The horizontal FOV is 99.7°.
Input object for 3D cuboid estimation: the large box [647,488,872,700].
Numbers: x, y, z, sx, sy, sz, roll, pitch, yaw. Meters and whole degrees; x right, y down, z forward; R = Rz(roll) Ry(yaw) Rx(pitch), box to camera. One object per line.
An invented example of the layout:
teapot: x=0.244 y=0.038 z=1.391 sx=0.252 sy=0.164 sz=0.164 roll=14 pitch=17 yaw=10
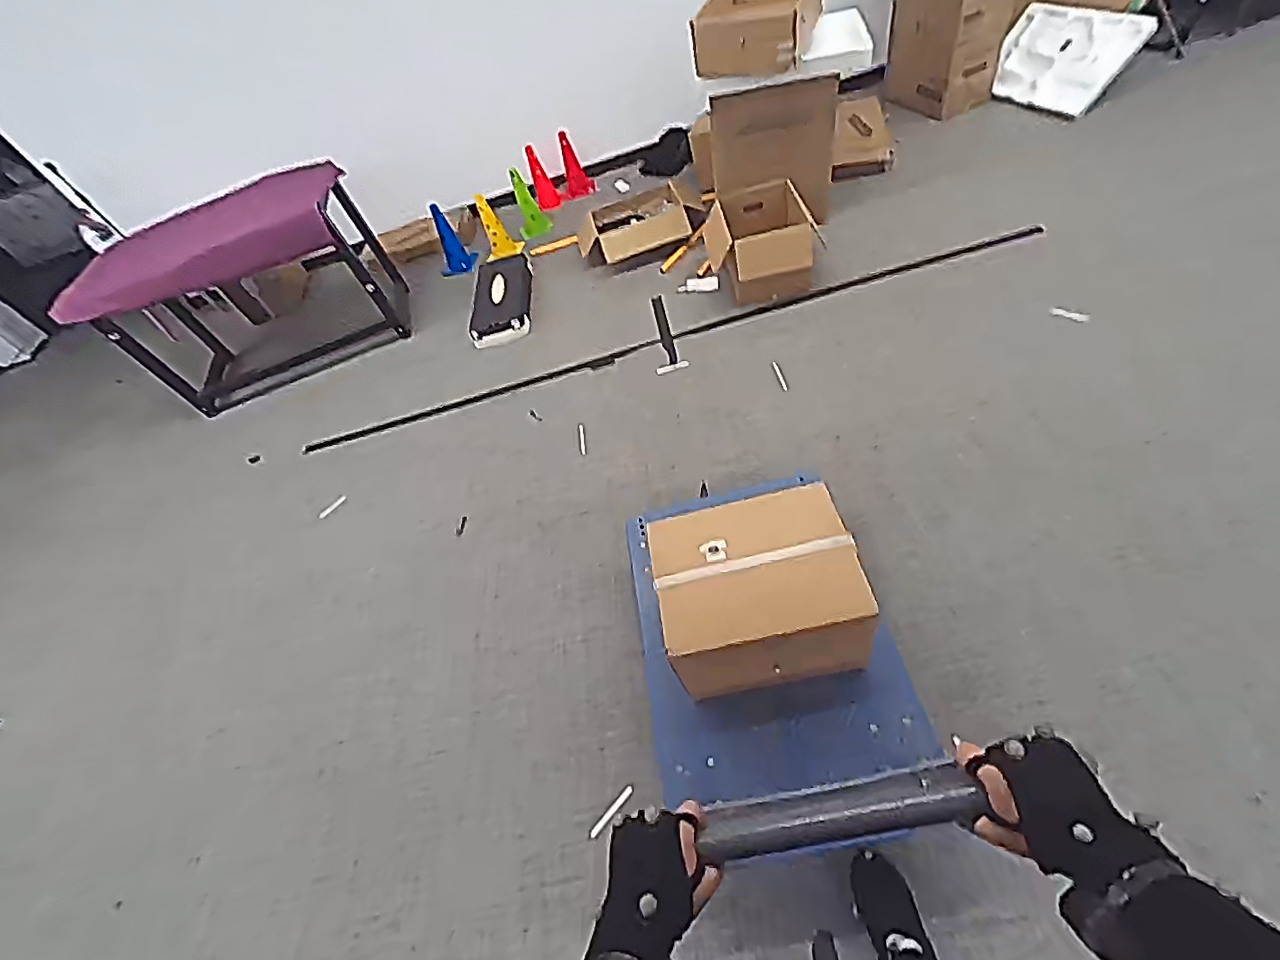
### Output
large box: x=0.263 y=0.271 z=1.237 sx=0.408 sy=0.320 sz=0.320 roll=-15 pitch=50 yaw=7
